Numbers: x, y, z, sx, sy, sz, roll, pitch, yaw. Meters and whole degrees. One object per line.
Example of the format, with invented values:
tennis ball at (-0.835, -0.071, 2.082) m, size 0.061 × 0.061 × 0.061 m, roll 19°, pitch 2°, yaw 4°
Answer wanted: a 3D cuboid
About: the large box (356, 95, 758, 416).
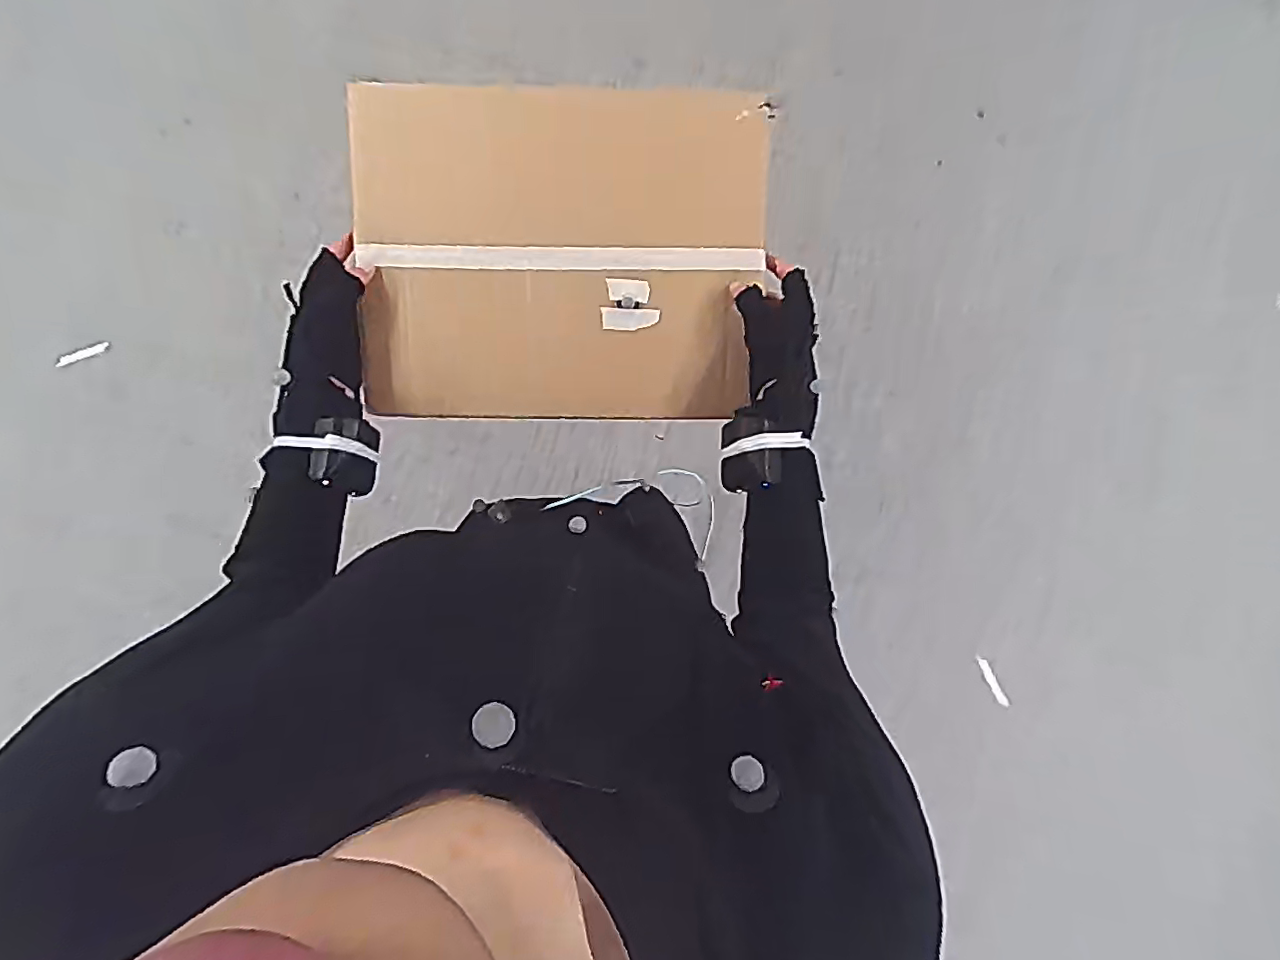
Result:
large box at (-0.086, -0.243, 0.698) m, size 0.408 × 0.320 × 0.320 m, roll 0°, pitch 98°, yaw -3°
